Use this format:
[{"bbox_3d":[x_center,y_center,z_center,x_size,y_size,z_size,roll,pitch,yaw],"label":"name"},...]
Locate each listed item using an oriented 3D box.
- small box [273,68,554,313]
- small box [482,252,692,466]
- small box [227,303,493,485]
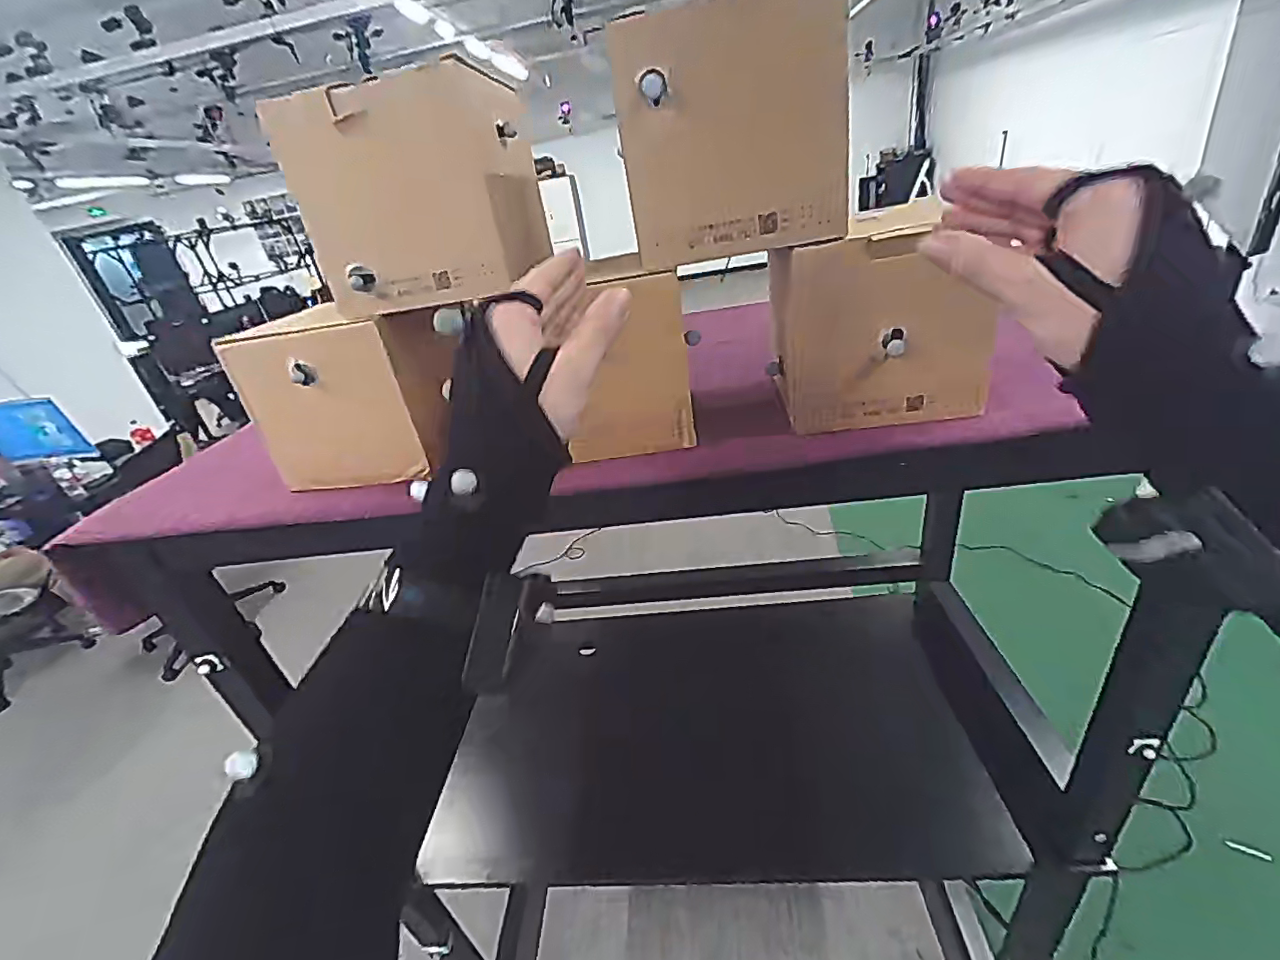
[{"bbox_3d":[-0.193,-0.266,0.525,0.168,0.176,0.179,-6,27,8],"label":"small box"},{"bbox_3d":[-0.038,-0.130,0.573,0.179,0.176,0.168,-7,28,6],"label":"small box"},{"bbox_3d":[-0.292,-0.103,0.608,0.179,0.176,0.168,-4,29,11],"label":"small box"}]
